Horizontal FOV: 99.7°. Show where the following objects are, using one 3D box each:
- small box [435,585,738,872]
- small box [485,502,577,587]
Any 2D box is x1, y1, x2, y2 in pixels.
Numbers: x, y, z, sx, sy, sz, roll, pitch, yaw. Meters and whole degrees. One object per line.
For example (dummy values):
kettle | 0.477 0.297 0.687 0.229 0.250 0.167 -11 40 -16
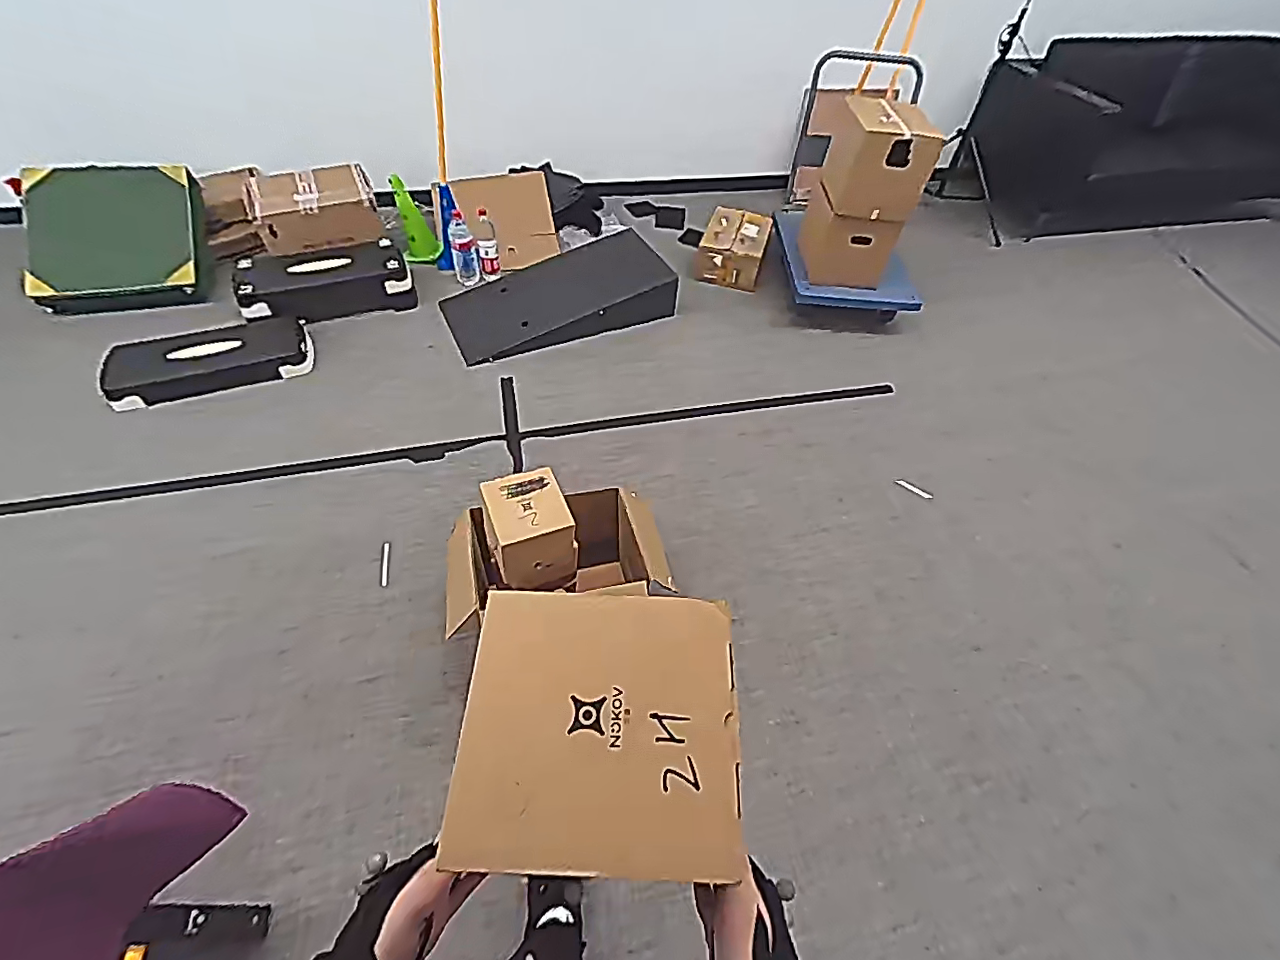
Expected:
small box | -0.028 0.192 0.414 0.179 0.176 0.168 3 57 0
small box | -0.277 0.194 1.388 0.179 0.176 0.168 -24 59 -27
